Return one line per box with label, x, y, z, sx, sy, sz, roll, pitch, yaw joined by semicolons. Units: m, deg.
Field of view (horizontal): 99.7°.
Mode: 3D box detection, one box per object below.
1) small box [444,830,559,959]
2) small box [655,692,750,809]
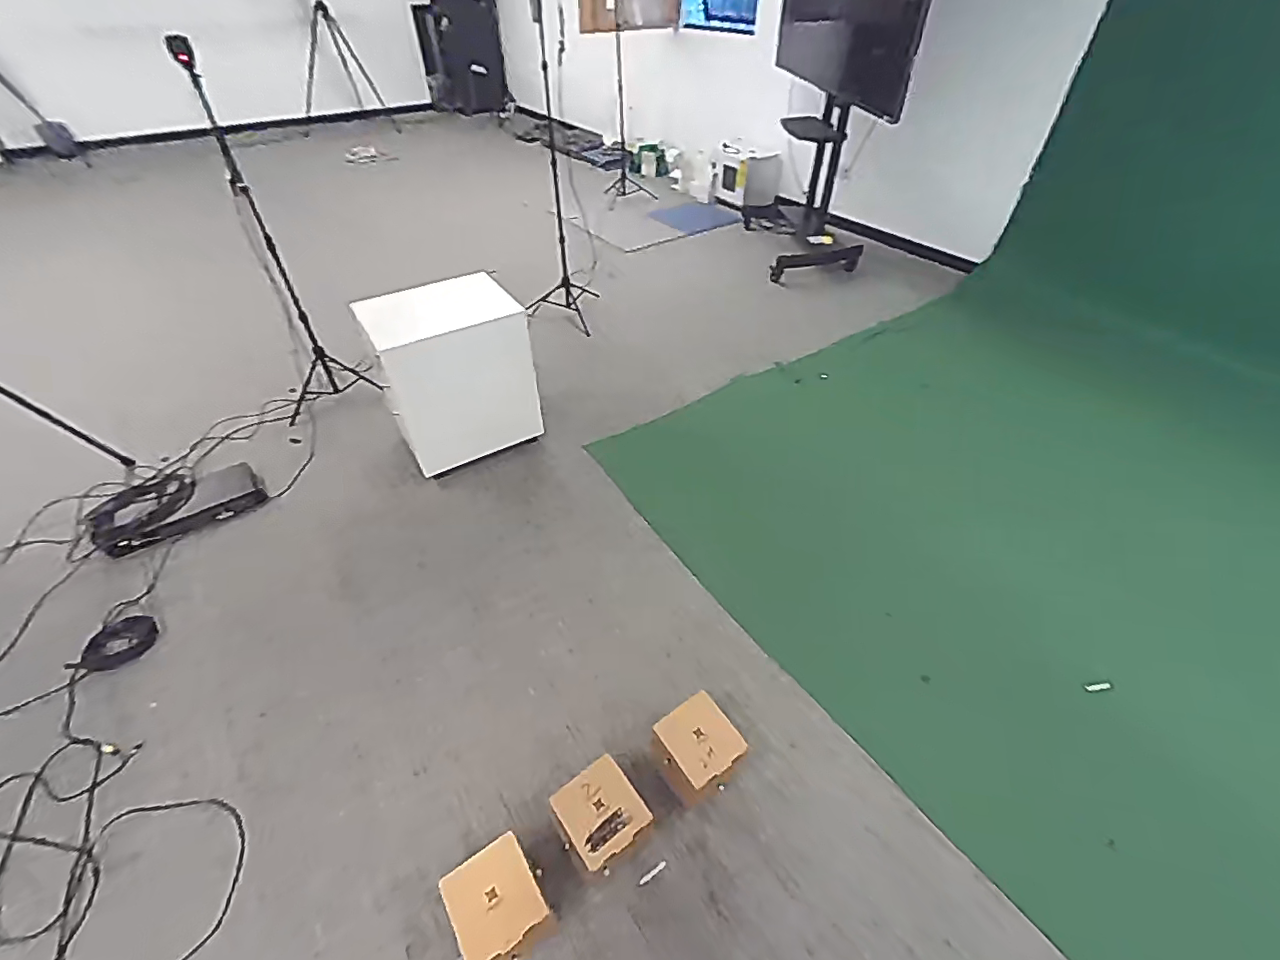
small box;-0.286;0.888;1.131;0.168;0.176;0.179;-26;50;-24
small box;0.147;0.678;1.355;0.168;0.176;0.179;-26;50;-24
